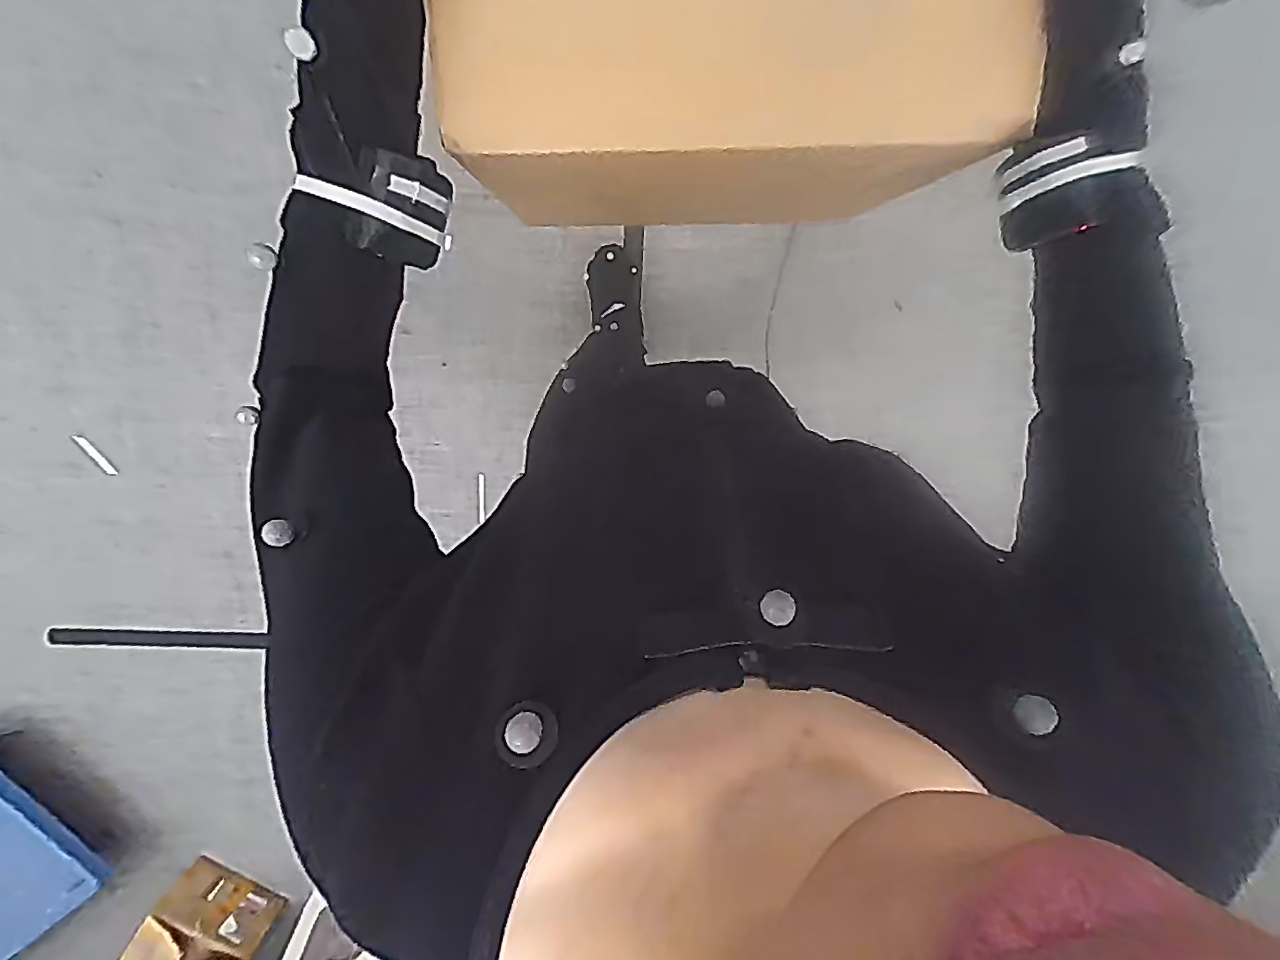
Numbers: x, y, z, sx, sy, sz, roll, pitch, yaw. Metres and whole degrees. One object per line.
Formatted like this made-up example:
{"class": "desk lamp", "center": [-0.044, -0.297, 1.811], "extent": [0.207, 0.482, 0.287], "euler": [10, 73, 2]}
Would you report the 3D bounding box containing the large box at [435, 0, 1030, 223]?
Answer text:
{"class": "large box", "center": [0.053, -0.430, 0.479], "extent": [0.408, 0.320, 0.320], "euler": [-2, 107, -2]}
